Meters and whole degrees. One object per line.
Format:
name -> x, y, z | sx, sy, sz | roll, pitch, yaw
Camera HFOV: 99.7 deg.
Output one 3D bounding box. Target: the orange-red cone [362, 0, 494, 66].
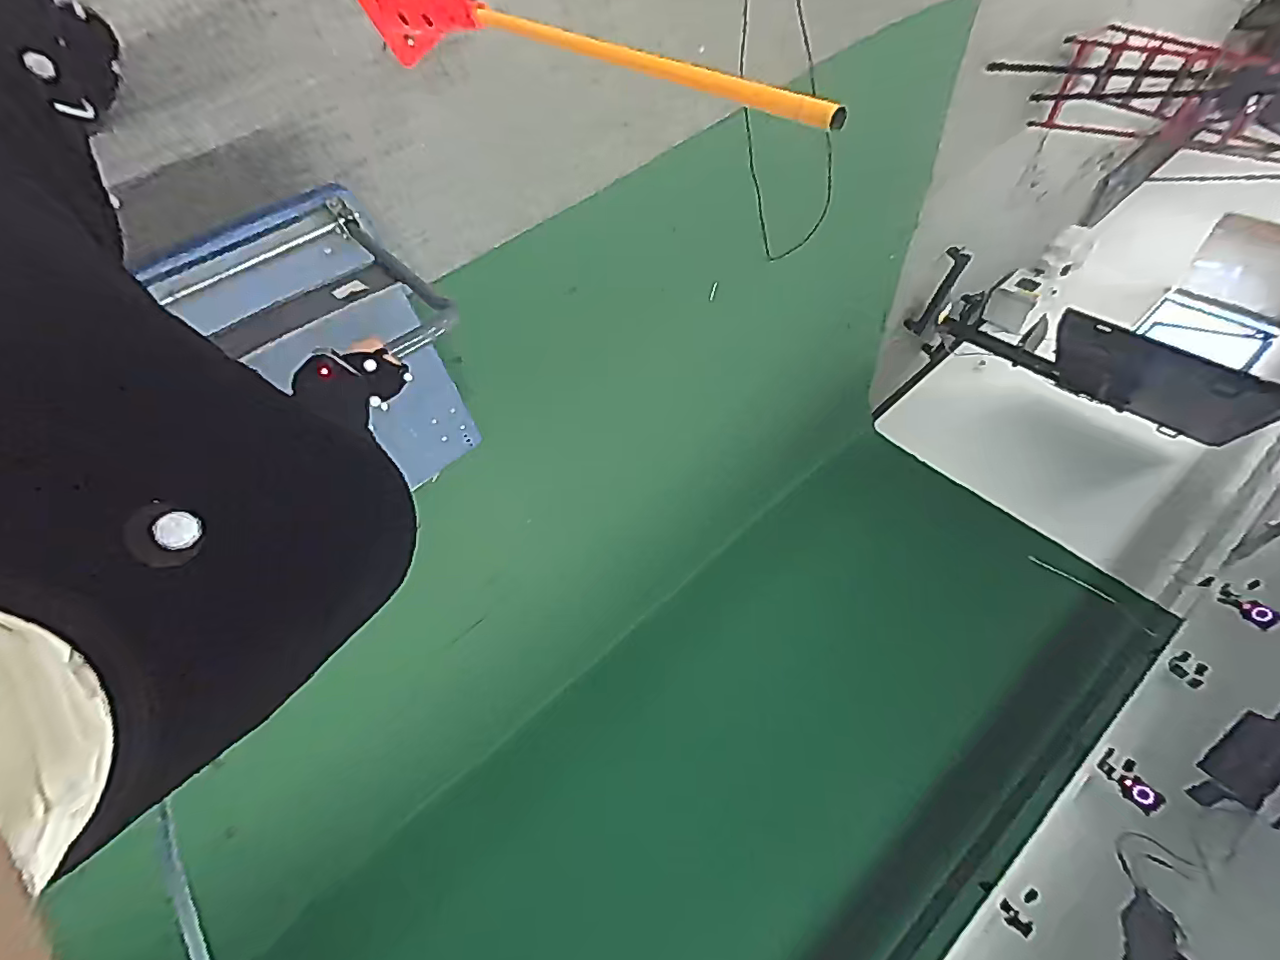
orange-red cone -> -0.406, -0.982, 1.118 | 0.199, 0.360, 0.198 | -47, 149, -4
